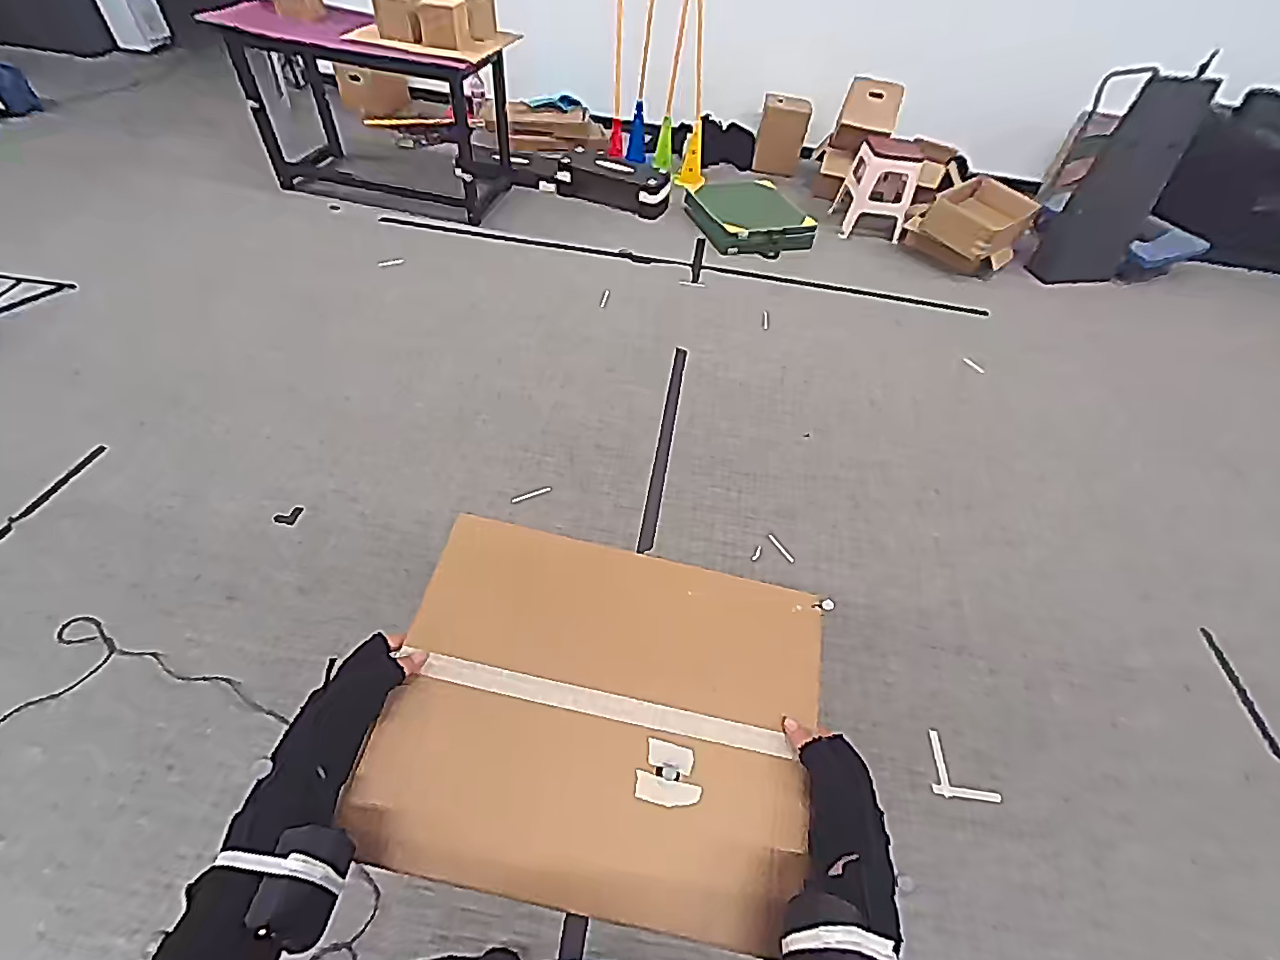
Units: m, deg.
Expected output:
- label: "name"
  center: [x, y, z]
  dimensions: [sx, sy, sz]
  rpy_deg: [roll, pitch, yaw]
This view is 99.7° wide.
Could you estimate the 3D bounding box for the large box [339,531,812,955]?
- label: "large box"
  center: [-0.049, 0.297, 0.648]
  dimensions: [0.408, 0.320, 0.320]
  rpy_deg: [13, 60, 0]
